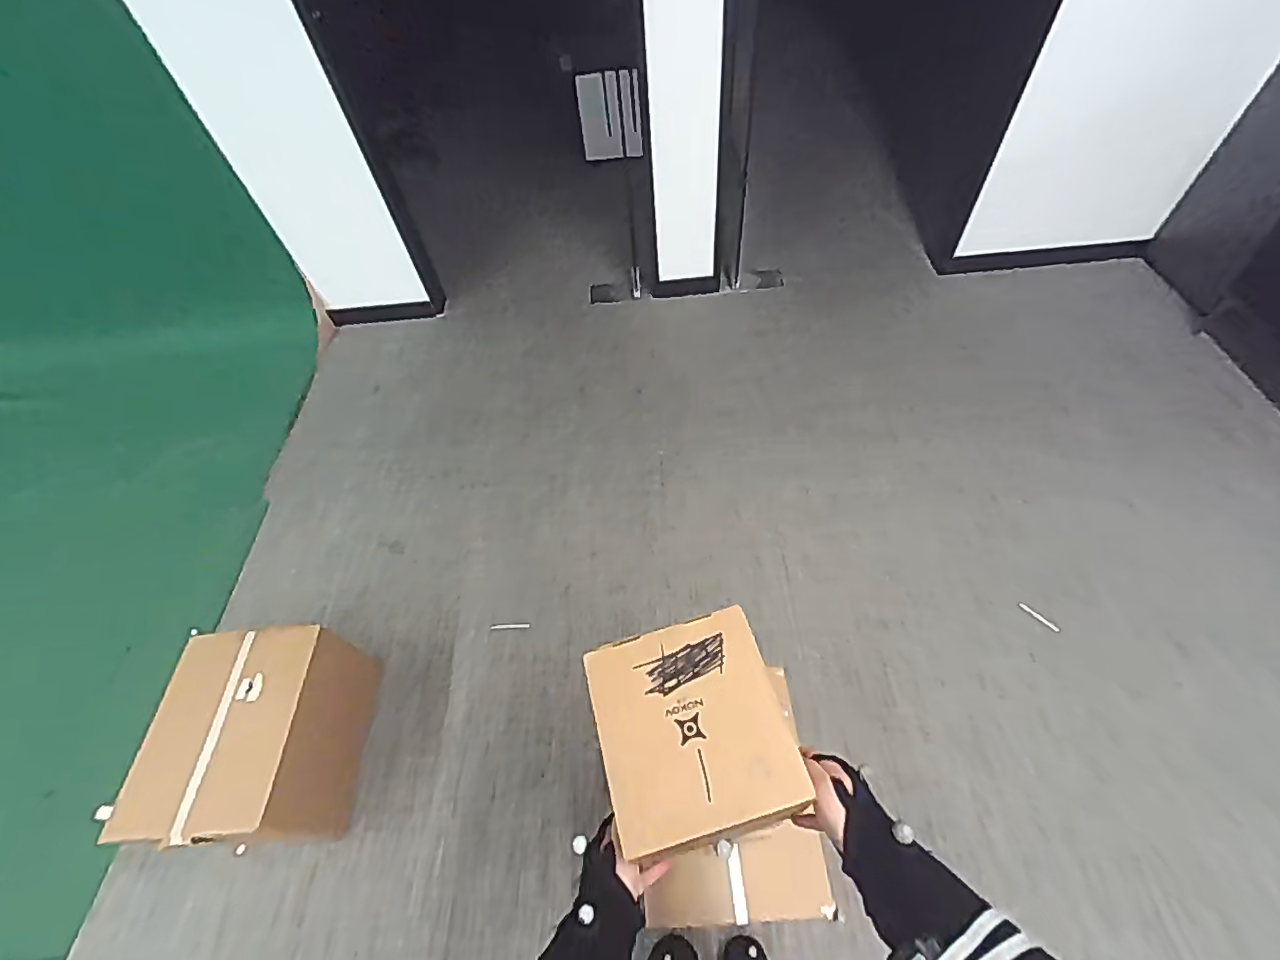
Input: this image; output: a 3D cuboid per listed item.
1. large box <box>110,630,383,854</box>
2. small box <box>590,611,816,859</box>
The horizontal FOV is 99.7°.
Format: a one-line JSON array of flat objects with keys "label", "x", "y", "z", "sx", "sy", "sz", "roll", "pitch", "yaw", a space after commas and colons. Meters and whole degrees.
[{"label": "large box", "x": -0.851, "y": 0.606, "z": 1.248, "sx": 0.320, "sy": 0.320, "sz": 0.408, "roll": -5, "pitch": 53, "yaw": 2}, {"label": "small box", "x": 0.058, "y": 0.264, "z": 0.552, "sx": 0.168, "sy": 0.176, "sz": 0.179, "roll": -18, "pitch": 54, "yaw": -1}]
